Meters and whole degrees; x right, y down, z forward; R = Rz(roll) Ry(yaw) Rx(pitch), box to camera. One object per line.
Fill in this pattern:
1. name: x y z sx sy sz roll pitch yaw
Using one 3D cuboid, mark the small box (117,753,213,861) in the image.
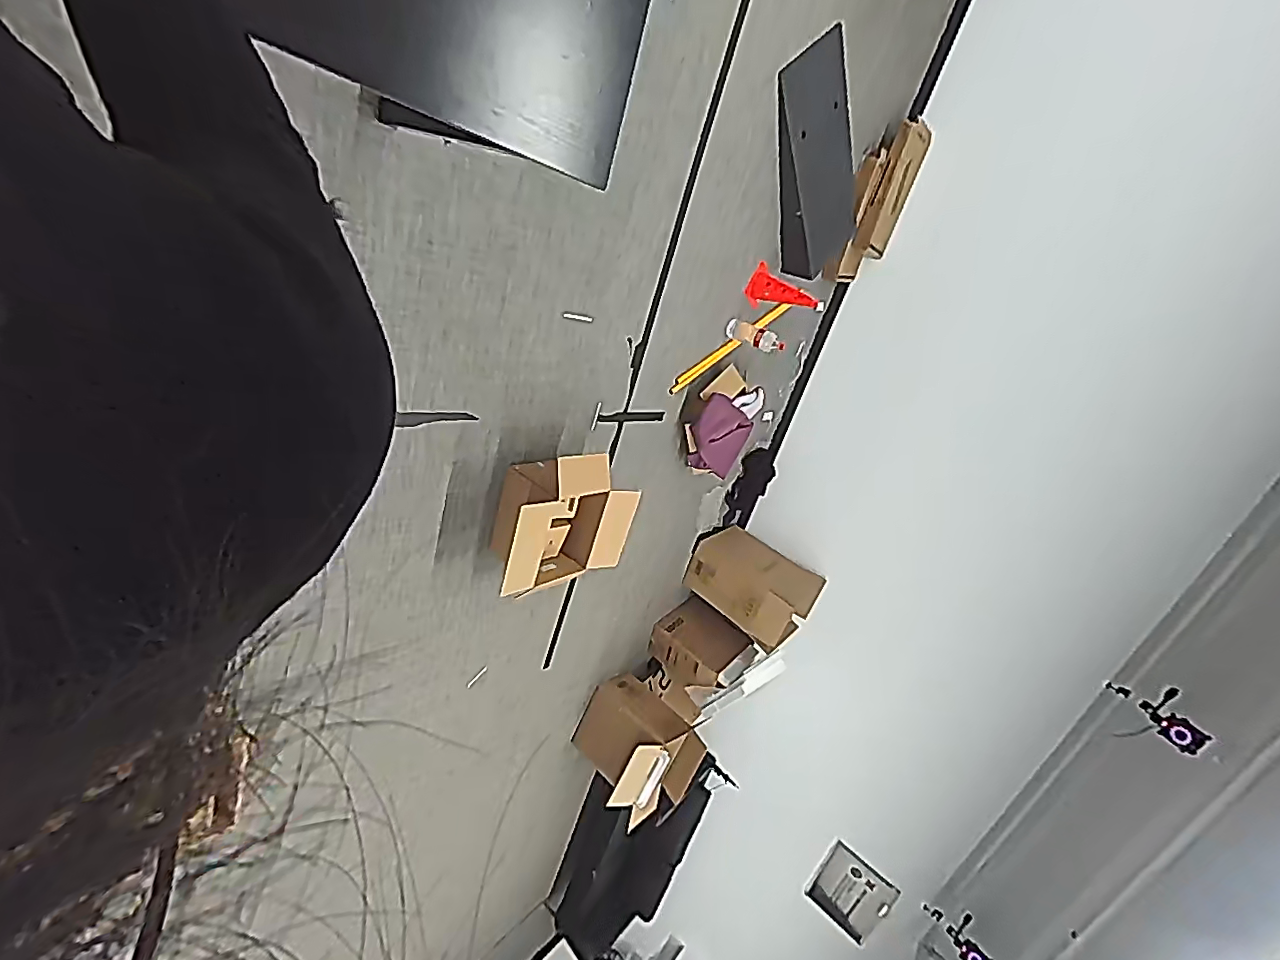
1. small box: -1.383 0.938 1.574 0.179 0.176 0.168 -4 118 -53
